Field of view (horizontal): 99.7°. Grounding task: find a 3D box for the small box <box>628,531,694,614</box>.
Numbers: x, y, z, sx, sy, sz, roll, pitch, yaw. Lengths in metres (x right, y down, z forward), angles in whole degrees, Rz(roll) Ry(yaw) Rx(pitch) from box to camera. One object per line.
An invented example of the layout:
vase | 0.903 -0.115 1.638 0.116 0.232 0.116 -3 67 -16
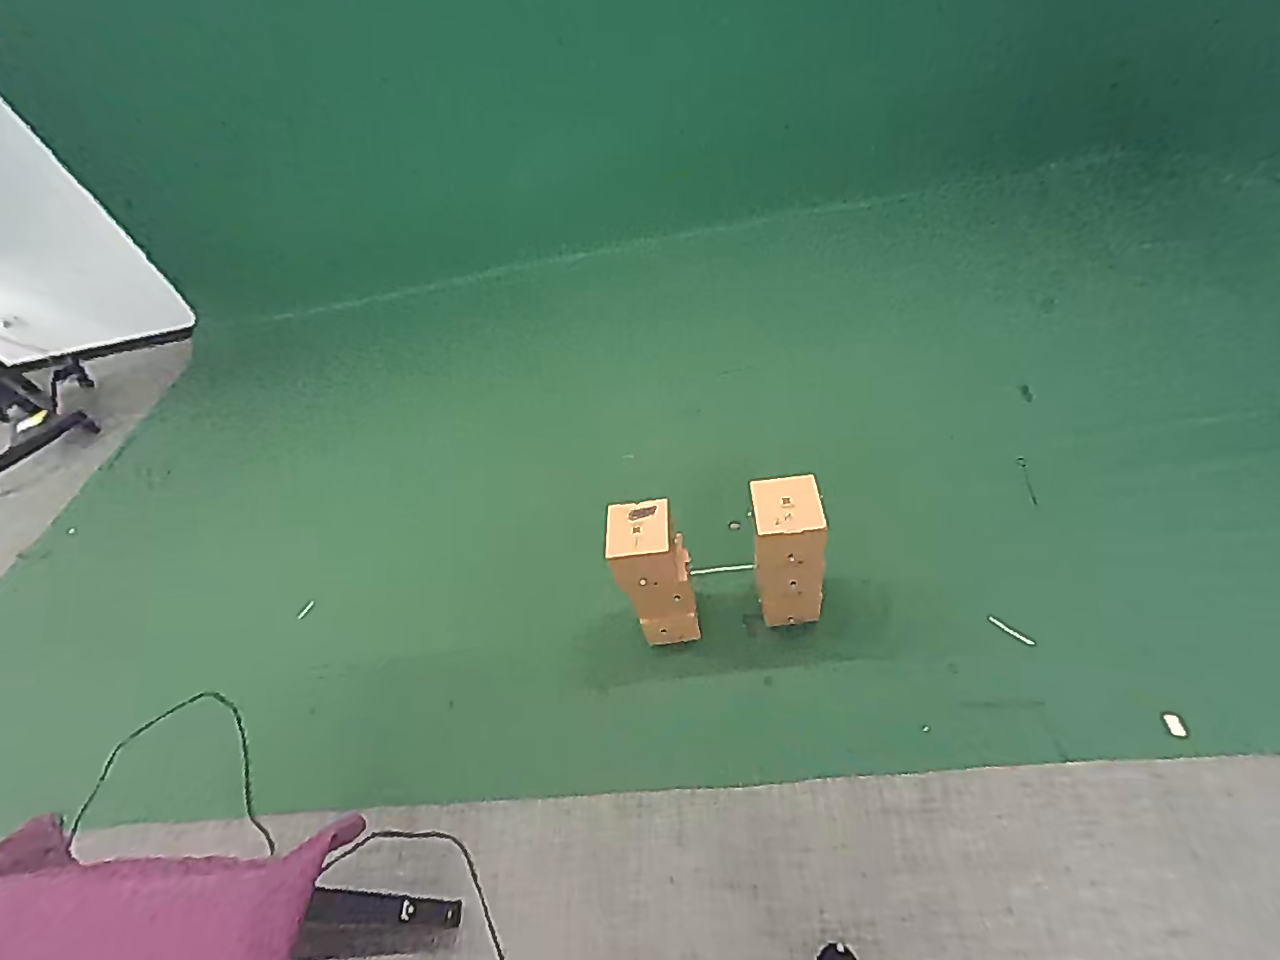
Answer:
small box | 0.062 0.274 1.587 0.179 0.176 0.168 -11 47 7

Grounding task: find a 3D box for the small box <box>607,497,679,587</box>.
small box | 0.012 0.170 1.469 0.168 0.176 0.179 -8 48 9

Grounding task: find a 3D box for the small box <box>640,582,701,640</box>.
small box | 0.094 0.389 1.697 0.168 0.176 0.179 -10 48 7

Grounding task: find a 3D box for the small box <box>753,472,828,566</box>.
small box | 0.388 0.104 1.421 0.168 0.176 0.179 -7 50 9

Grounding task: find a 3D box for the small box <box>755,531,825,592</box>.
small box | 0.423 0.209 1.543 0.168 0.176 0.179 -7 51 8
